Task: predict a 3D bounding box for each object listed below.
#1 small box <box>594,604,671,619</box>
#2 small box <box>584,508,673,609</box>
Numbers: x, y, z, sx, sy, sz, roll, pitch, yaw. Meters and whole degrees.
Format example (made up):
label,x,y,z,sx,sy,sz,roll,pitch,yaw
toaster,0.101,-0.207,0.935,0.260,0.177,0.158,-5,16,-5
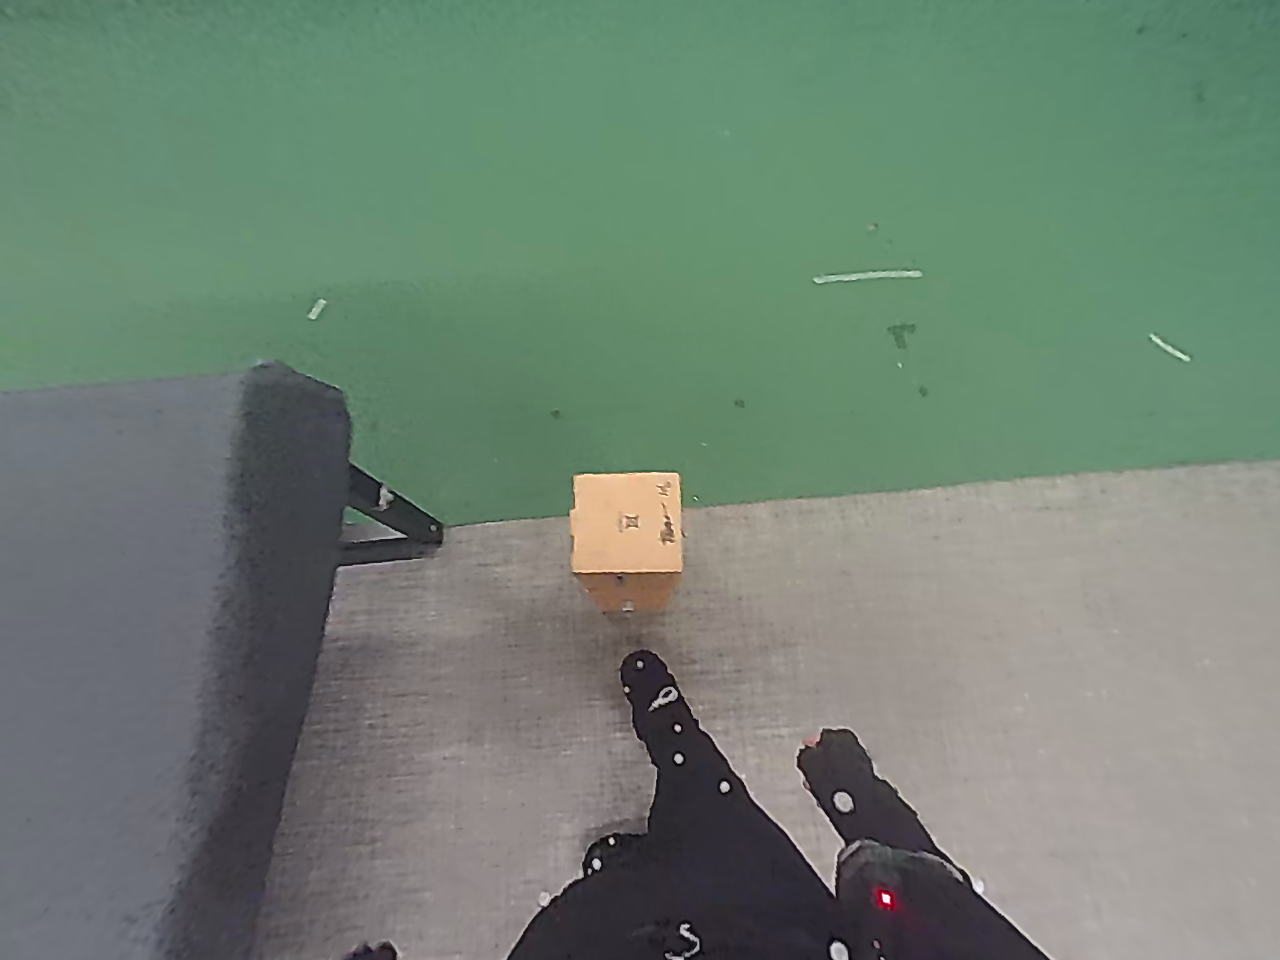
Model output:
label,x,y,z,sx,sy,sz,roll,pitch,yaw
small box,-0.015,0.223,1.245,0.168,0.176,0.179,-2,72,2
small box,-0.020,0.163,1.092,0.168,0.176,0.179,-1,71,2
